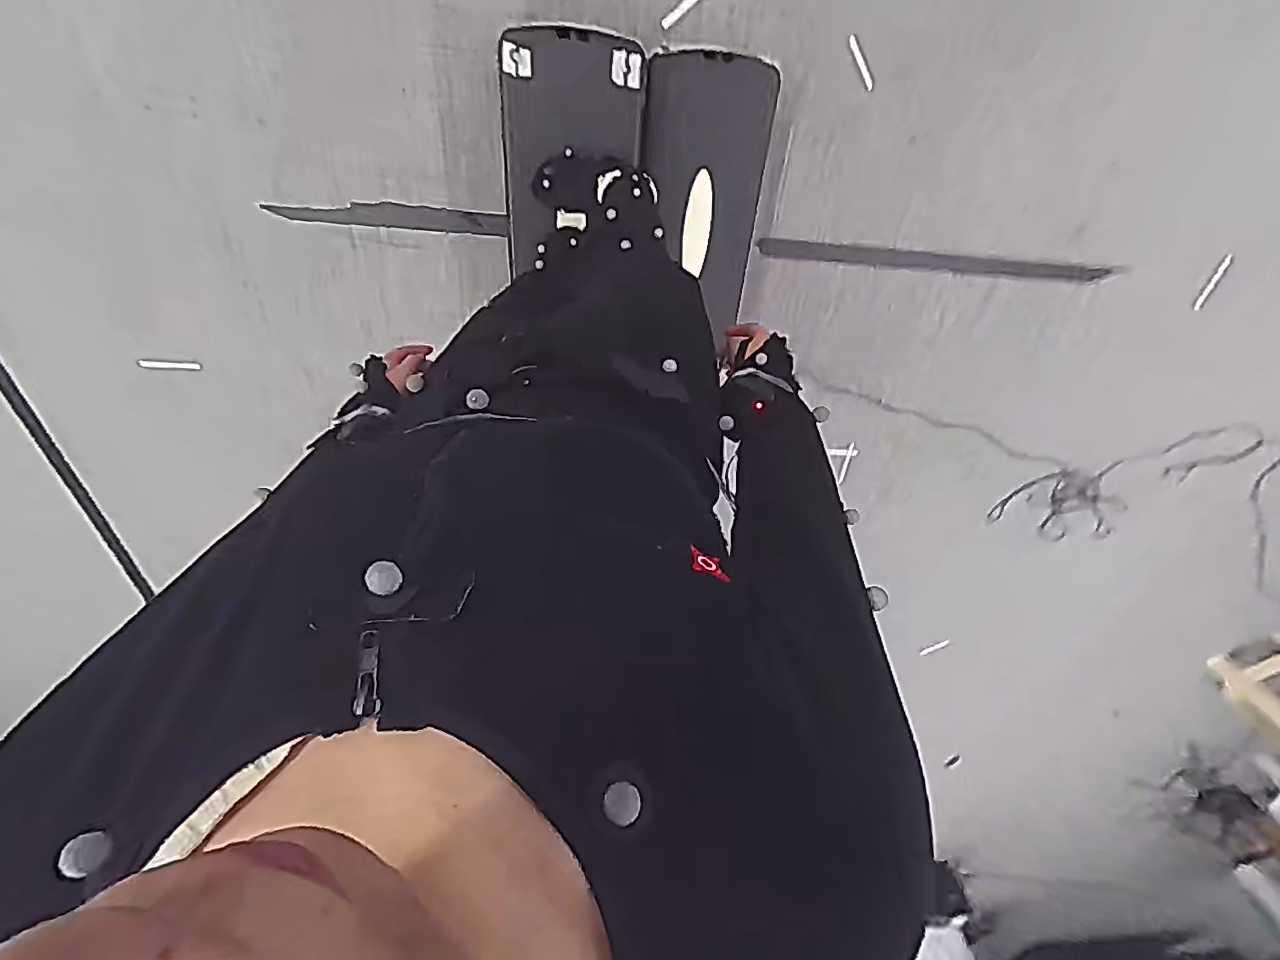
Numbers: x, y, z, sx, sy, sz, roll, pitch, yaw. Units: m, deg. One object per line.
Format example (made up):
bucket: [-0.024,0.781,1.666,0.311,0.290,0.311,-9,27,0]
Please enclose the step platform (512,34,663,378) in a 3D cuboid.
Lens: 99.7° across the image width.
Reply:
step platform: [-0.139,-0.576,1.234,0.286,0.204,0.684,5,122,-8]
